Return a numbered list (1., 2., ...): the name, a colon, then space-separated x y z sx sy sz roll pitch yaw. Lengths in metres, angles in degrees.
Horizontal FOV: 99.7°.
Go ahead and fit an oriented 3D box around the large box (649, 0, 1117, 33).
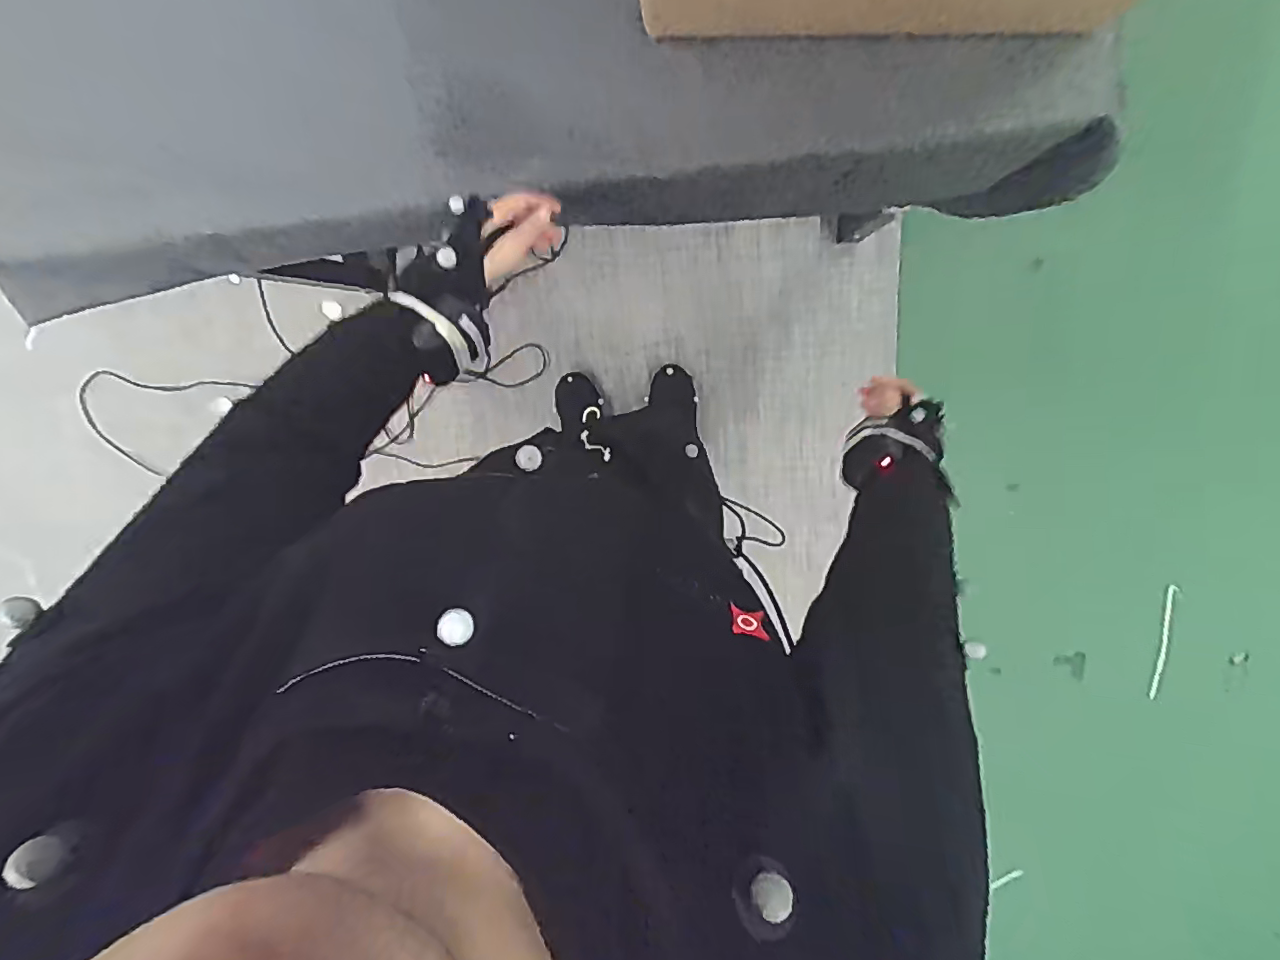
1. large box: 0.196 -0.522 0.312 0.408 0.320 0.320 3 105 4
